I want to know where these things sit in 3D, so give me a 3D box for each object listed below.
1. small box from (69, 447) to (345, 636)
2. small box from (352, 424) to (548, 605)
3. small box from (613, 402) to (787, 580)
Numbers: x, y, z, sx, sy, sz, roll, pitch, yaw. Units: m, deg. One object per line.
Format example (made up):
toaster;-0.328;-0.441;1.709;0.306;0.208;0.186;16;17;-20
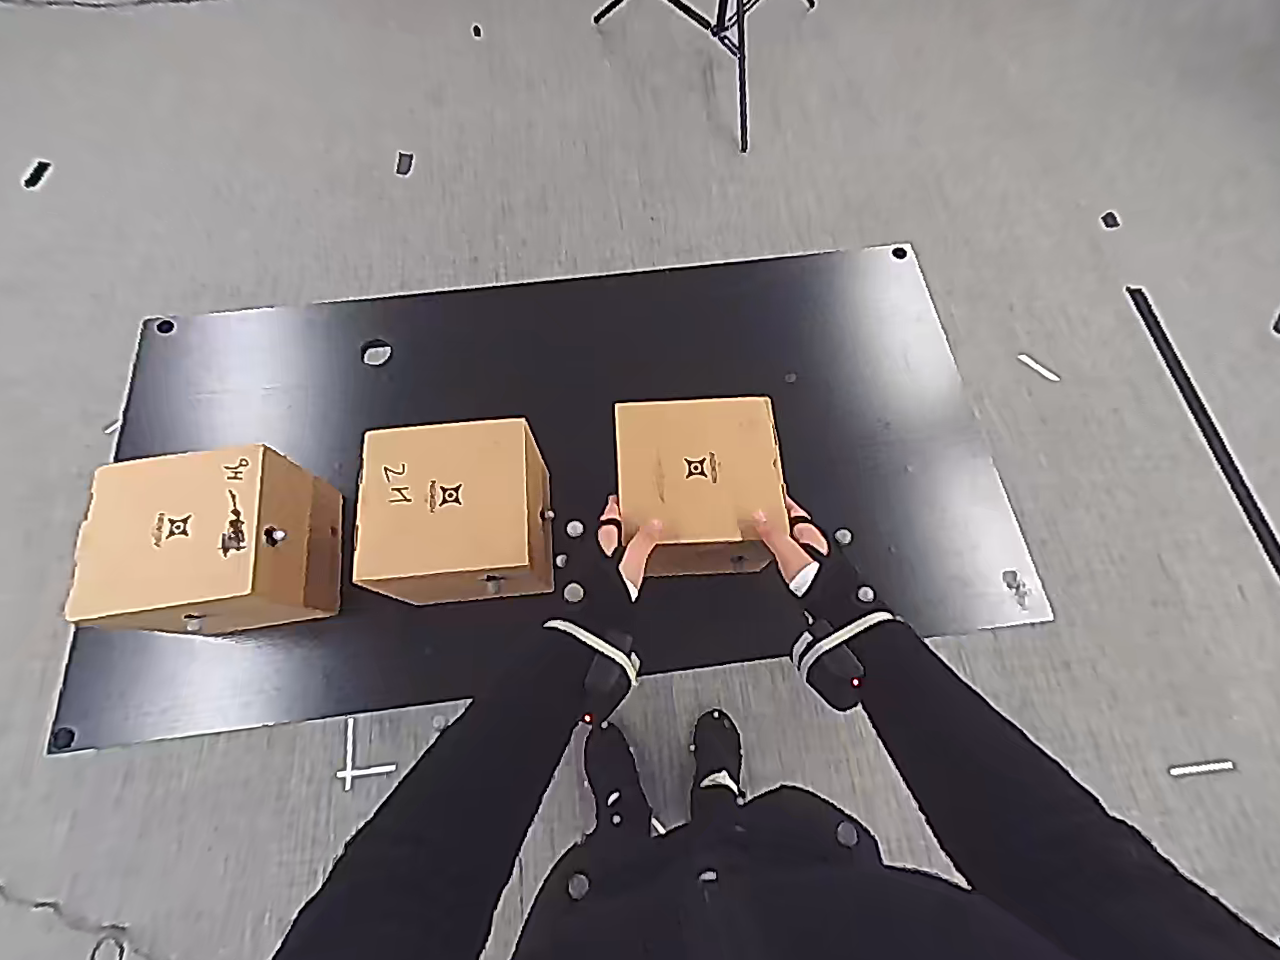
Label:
small box;-0.475;0.080;0.626;0.179;0.176;0.168;-9;70;-3
small box;-0.204;0.048;0.636;0.179;0.176;0.168;-5;69;-1
small box;0.061;0.021;0.649;0.179;0.176;0.168;-3;68;0
